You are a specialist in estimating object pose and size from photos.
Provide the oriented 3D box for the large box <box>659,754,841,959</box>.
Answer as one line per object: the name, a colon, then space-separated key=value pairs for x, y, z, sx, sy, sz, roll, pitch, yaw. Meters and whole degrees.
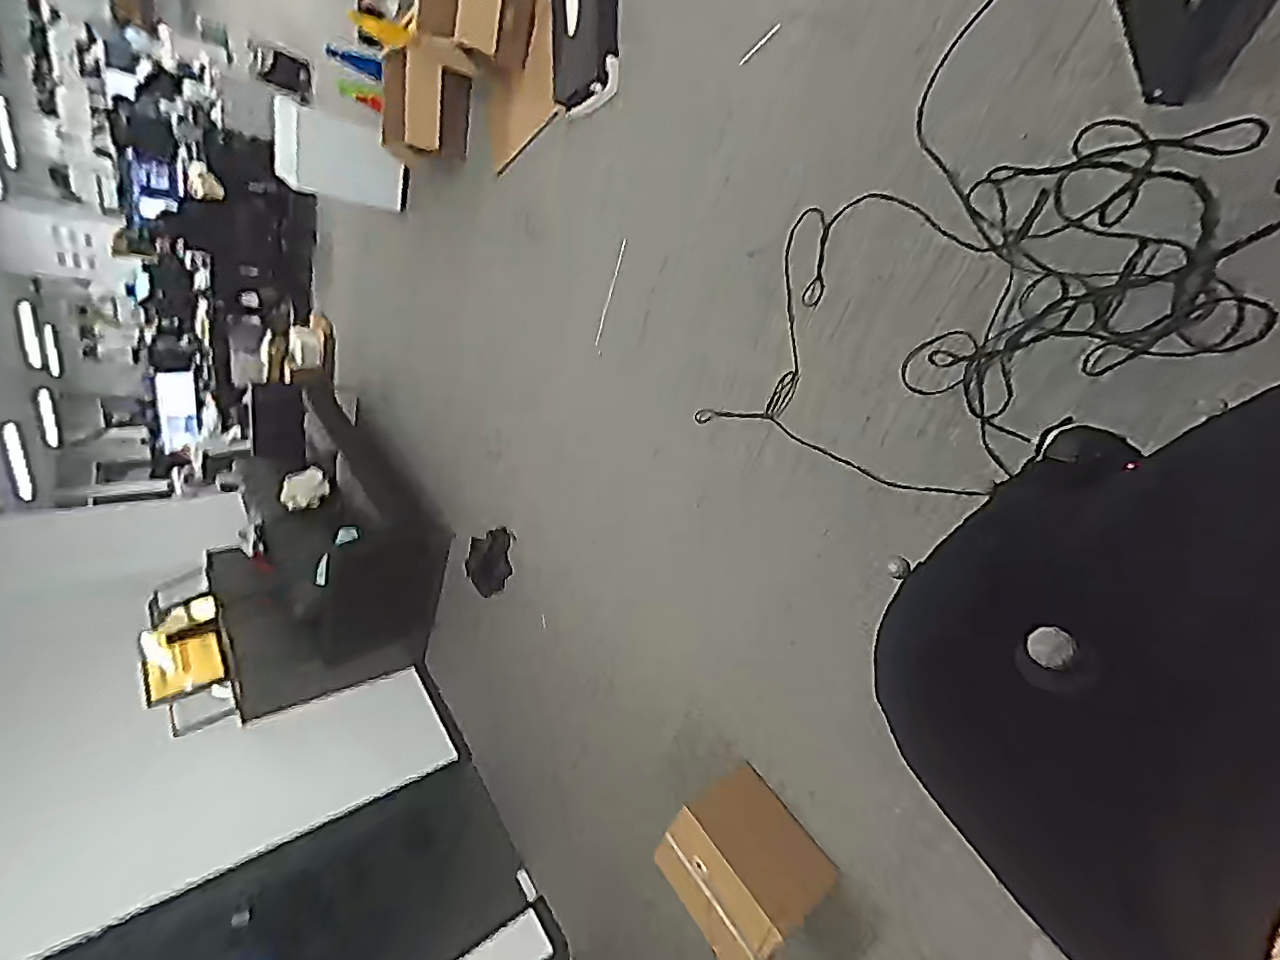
large box: x=0.334 y=1.175 z=1.699 sx=0.408 sy=0.320 sz=0.320 roll=43 pitch=125 yaw=36
